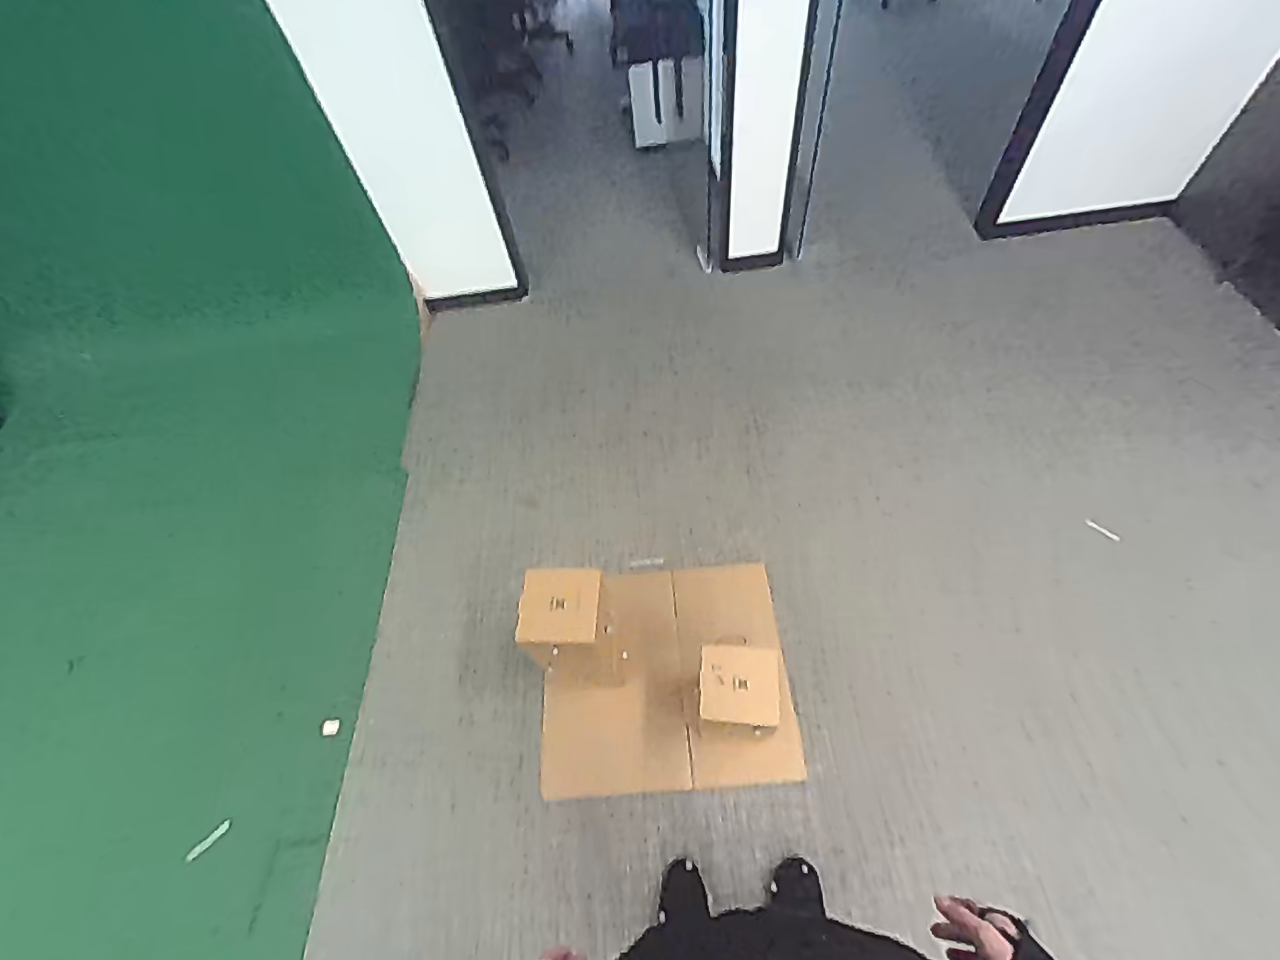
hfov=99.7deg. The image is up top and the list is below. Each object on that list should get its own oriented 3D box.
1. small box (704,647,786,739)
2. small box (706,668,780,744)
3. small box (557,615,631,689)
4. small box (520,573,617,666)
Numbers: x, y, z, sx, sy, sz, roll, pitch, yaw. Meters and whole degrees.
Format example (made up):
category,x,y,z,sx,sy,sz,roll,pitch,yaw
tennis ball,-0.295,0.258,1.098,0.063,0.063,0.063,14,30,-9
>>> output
category,x,y,z,sx,sy,sz,roll,pitch,yaw
small box,0.244,0.505,1.275,0.179,0.176,0.168,1,57,10
small box,0.263,0.589,1.416,0.179,0.176,0.168,-2,56,7
small box,-0.124,0.491,1.531,0.179,0.176,0.168,-3,57,6
small box,-0.157,0.325,1.250,0.179,0.176,0.168,-1,57,7
